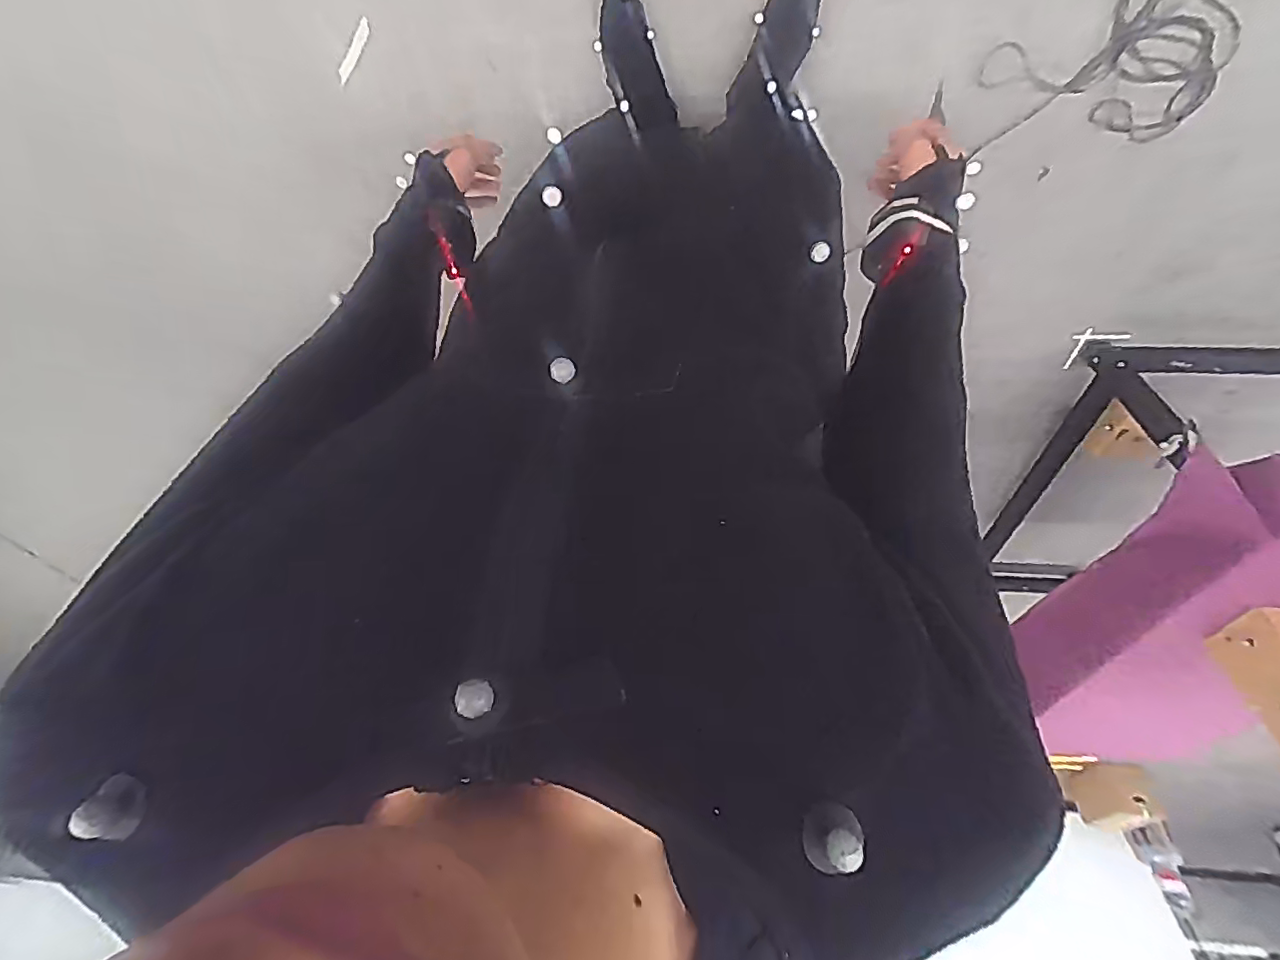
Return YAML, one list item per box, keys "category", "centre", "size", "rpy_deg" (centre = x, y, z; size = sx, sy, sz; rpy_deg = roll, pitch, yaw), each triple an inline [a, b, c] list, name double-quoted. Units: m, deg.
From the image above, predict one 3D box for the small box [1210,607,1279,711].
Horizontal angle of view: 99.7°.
- category: "small box"
  centre: [1.446, 0.394, 1.187]
  size: [0.179, 0.176, 0.168]
  rpy_deg: [2, 137, 5]
